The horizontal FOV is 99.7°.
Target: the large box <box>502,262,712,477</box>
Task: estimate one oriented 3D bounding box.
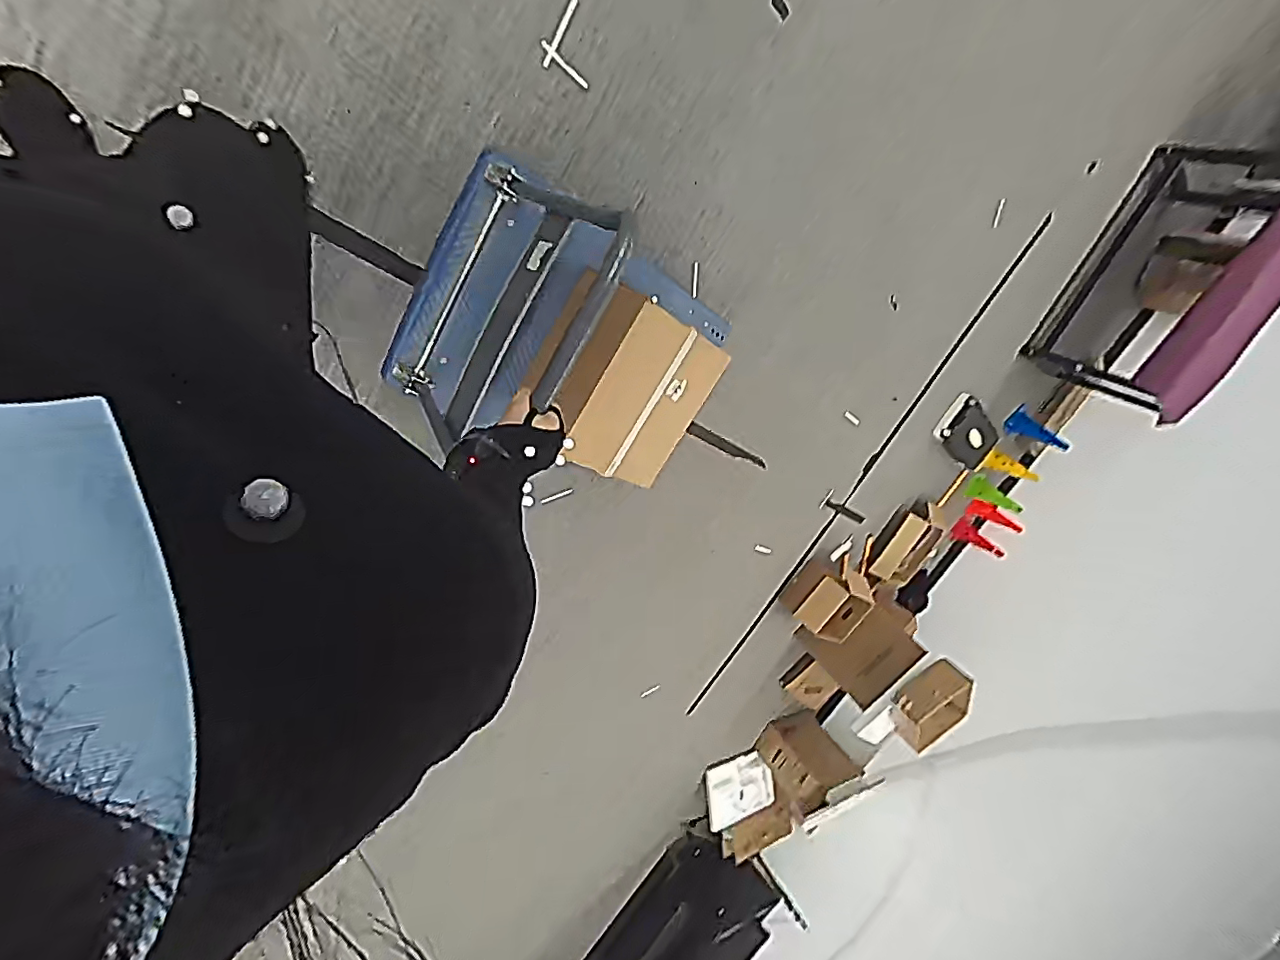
[{"bbox_3d":[-0.097,-0.279,1.401,0.320,0.320,0.408,20,106,-44],"label":"large box"}]
